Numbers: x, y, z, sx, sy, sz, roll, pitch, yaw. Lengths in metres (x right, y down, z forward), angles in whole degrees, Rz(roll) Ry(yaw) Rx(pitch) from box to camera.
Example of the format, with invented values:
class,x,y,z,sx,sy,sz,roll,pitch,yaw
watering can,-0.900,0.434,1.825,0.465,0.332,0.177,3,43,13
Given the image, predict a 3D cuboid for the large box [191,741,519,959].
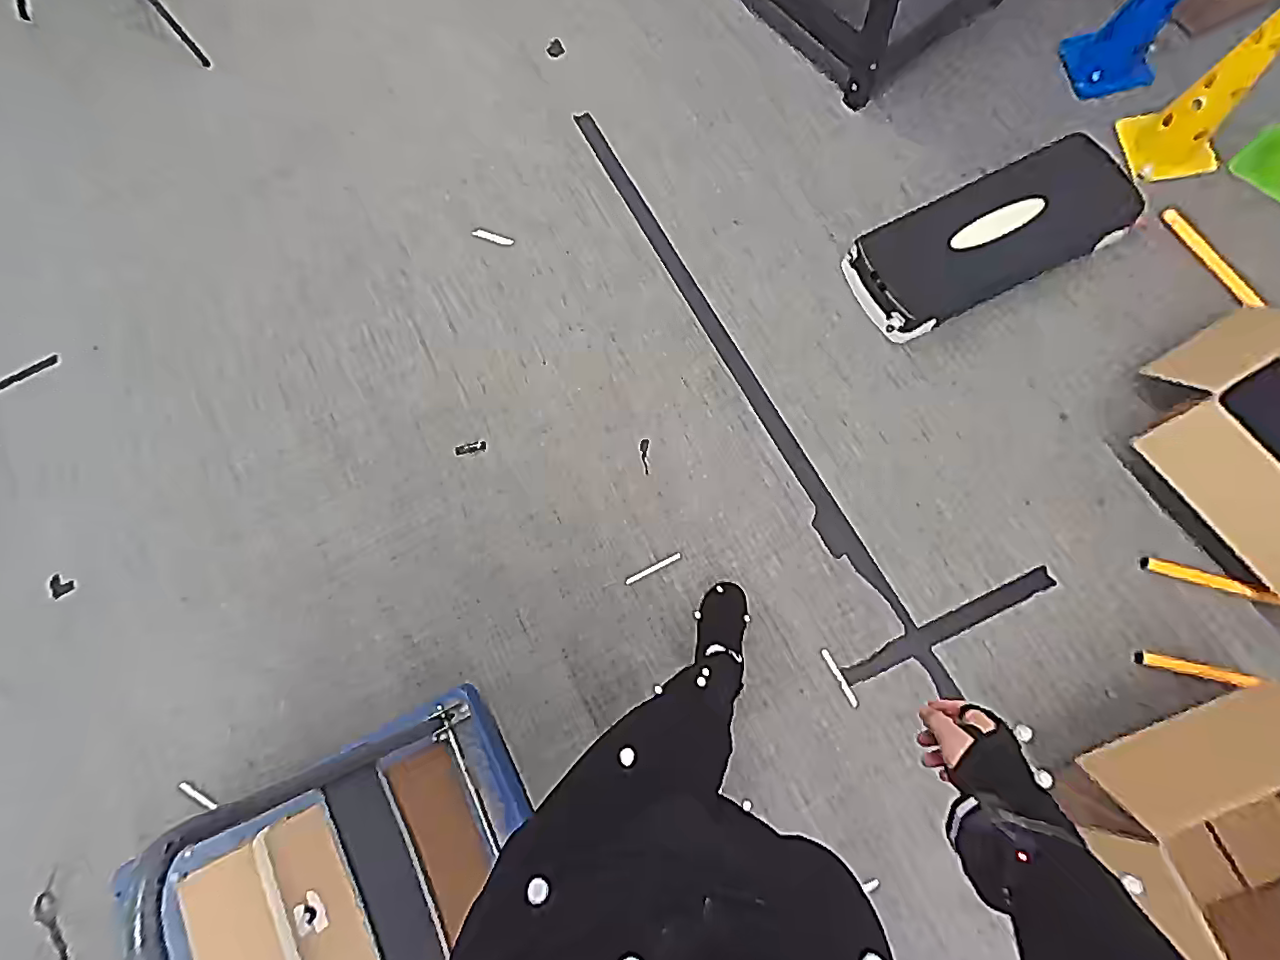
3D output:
class,x,y,z,sx,sy,sz,roll,pitch,yaw
large box,-0.471,0.756,0.953,0.320,0.320,0.408,-28,75,-1
